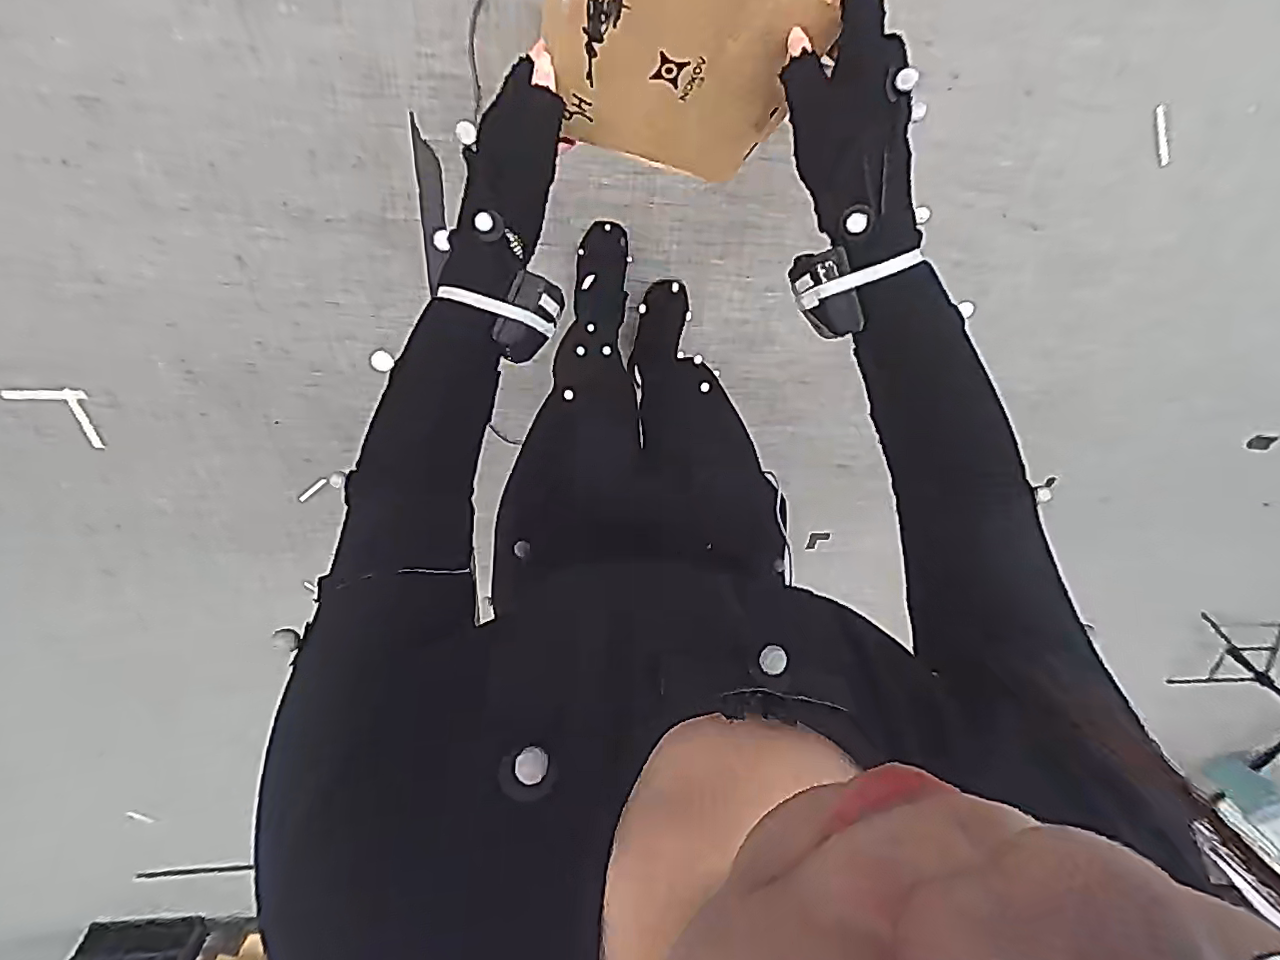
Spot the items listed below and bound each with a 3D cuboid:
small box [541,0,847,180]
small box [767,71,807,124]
[{"bbox_3d":[0.029,-0.377,0.412,0.179,0.176,0.168,4,167,-21],"label":"small box"},{"bbox_3d":[0.197,-0.762,0.992,0.179,0.176,0.168,2,123,-10],"label":"small box"}]
